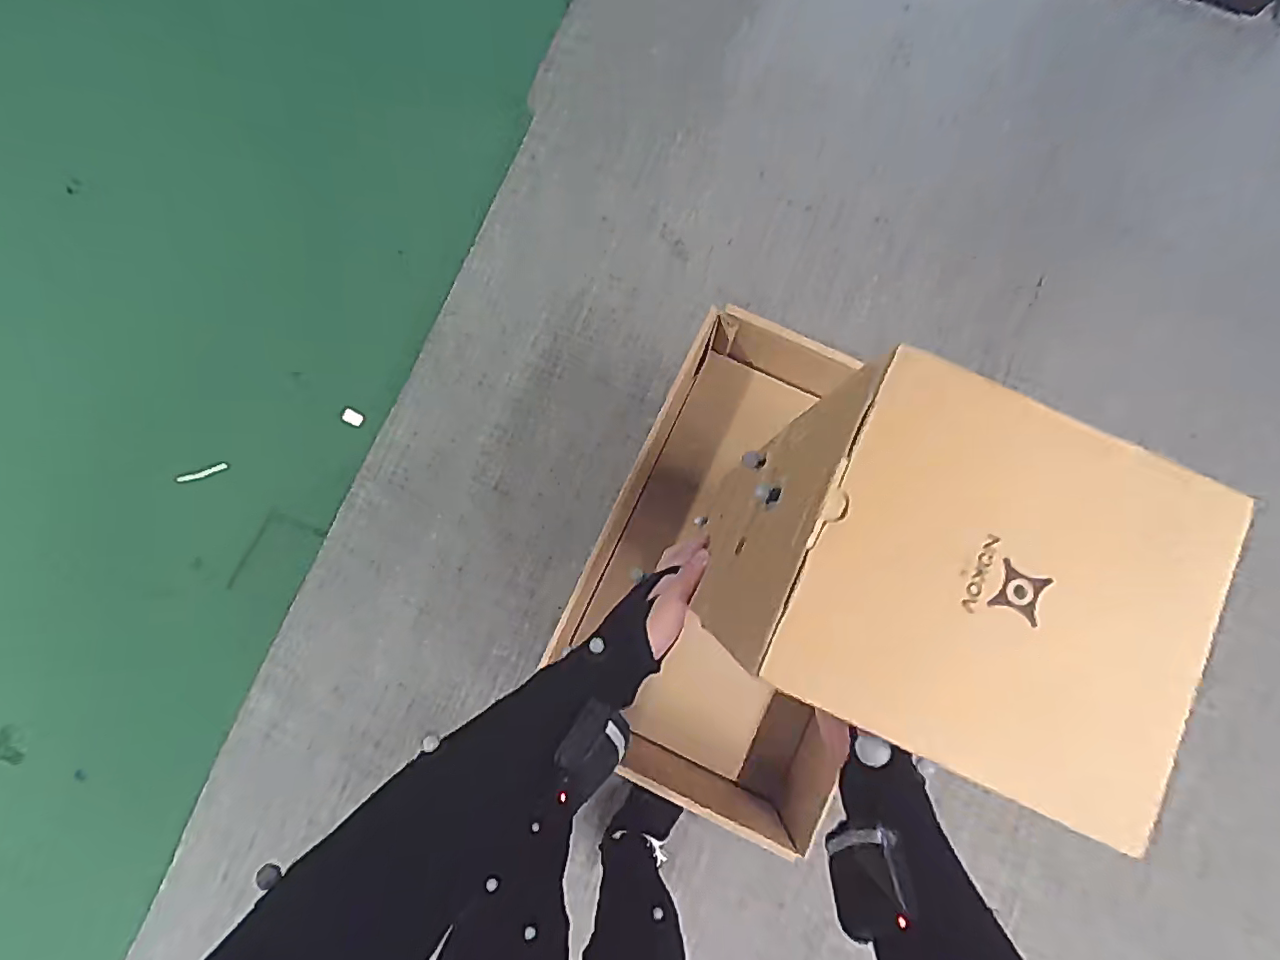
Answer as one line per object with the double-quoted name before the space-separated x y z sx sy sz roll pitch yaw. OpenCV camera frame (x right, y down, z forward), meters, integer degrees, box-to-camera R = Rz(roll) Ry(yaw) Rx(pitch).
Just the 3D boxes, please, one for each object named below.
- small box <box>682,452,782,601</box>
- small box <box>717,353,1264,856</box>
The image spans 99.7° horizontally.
"small box" 0.165 0.088 0.639 0.179 0.176 0.168 27 82 3
"small box" 0.164 0.057 0.314 0.179 0.176 0.168 25 84 3
